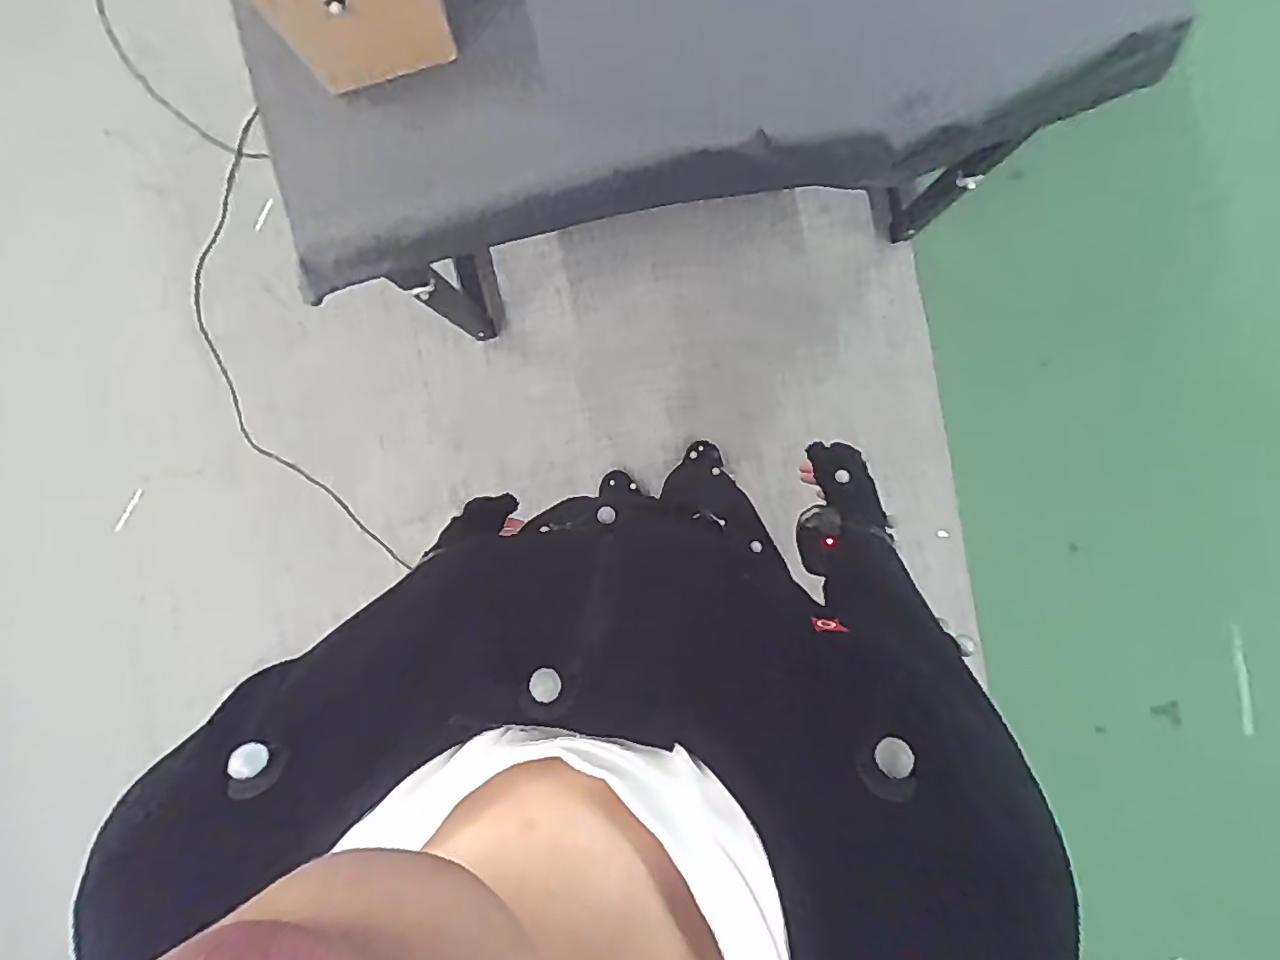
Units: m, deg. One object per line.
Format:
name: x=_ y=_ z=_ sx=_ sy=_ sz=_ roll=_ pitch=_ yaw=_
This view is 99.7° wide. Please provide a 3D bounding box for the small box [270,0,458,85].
small box: x=-0.343 y=-0.615 z=0.637 sx=0.179 sy=0.176 sz=0.168 roll=-16 pitch=92 yaw=1
